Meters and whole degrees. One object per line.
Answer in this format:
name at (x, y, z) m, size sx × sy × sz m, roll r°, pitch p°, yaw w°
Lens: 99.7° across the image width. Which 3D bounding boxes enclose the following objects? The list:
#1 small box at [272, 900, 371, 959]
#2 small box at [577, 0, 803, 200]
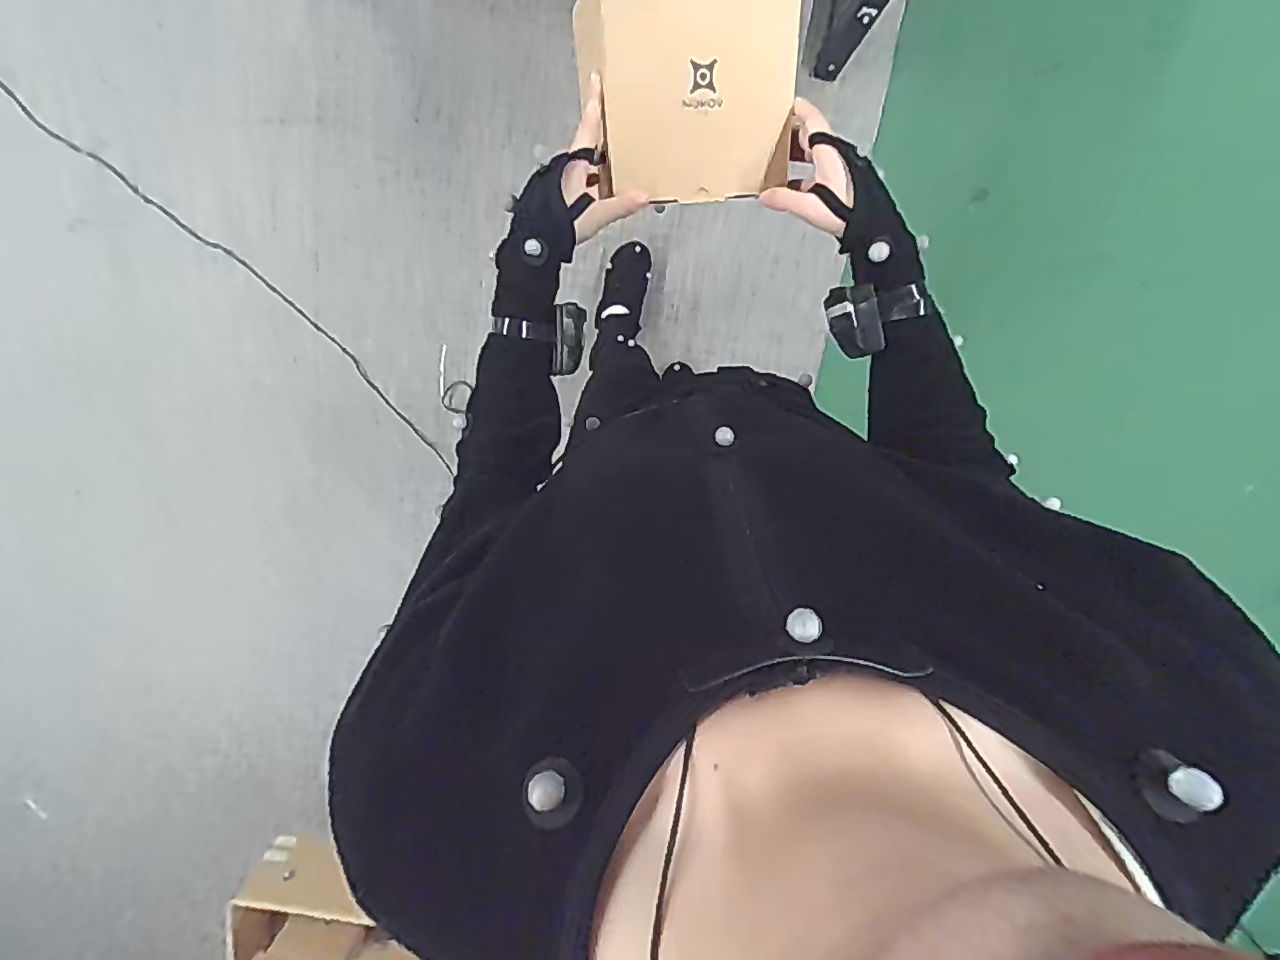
small box at (-0.766, 1.152, 1.281) m, size 0.168 × 0.176 × 0.179 m, roll 15°, pitch 103°, yaw -1°
small box at (0.036, -0.366, 0.510) m, size 0.168 × 0.176 × 0.179 m, roll -8°, pitch 120°, yaw -8°
